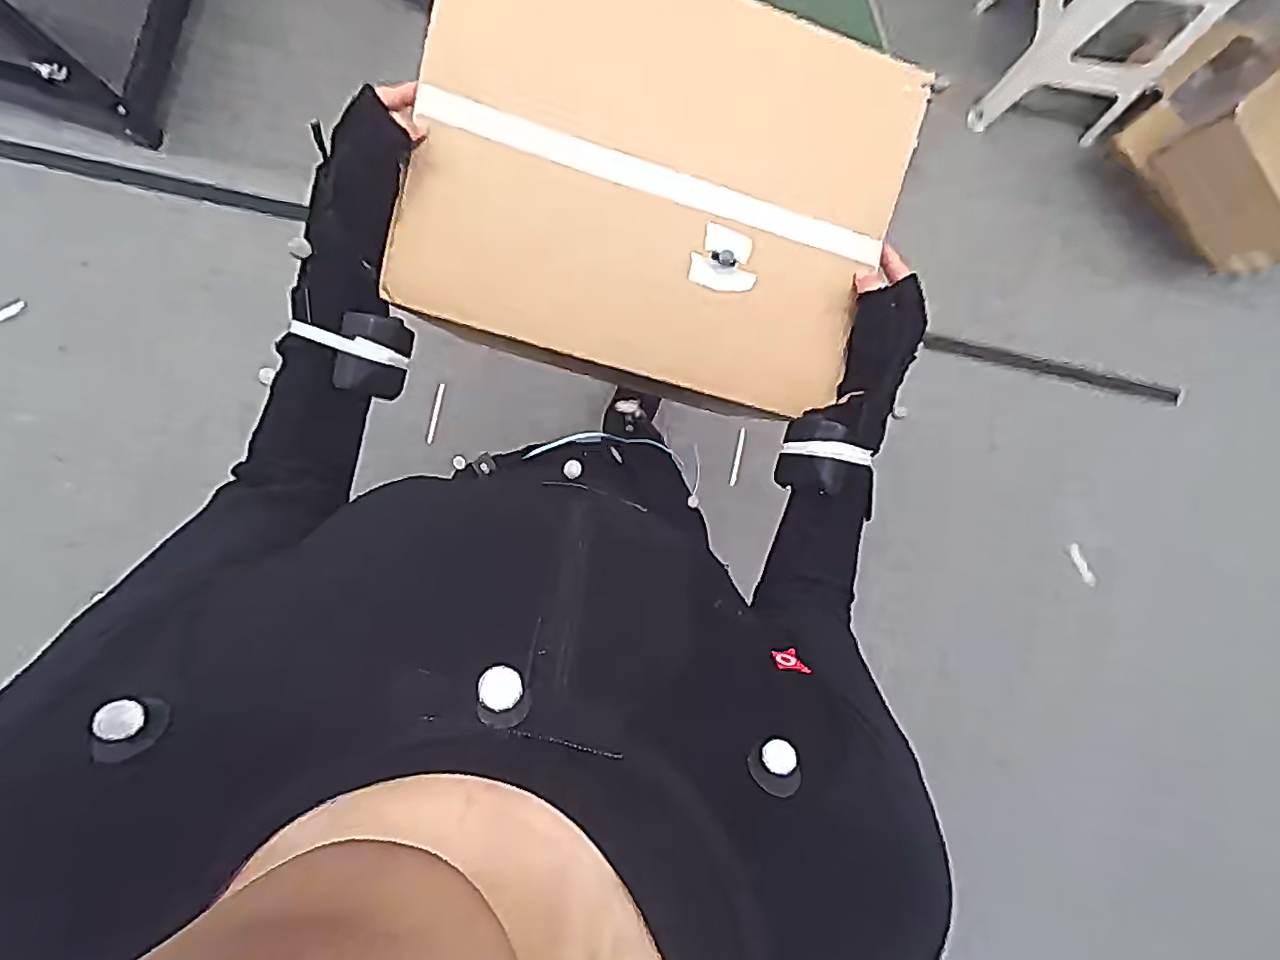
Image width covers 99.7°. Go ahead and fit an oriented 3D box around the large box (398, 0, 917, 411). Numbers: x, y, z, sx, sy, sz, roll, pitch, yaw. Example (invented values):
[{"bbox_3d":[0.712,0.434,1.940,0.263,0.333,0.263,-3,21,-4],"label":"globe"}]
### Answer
[{"bbox_3d":[0.000,-0.277,0.611,0.408,0.320,0.320,14,98,-10],"label":"large box"}]
